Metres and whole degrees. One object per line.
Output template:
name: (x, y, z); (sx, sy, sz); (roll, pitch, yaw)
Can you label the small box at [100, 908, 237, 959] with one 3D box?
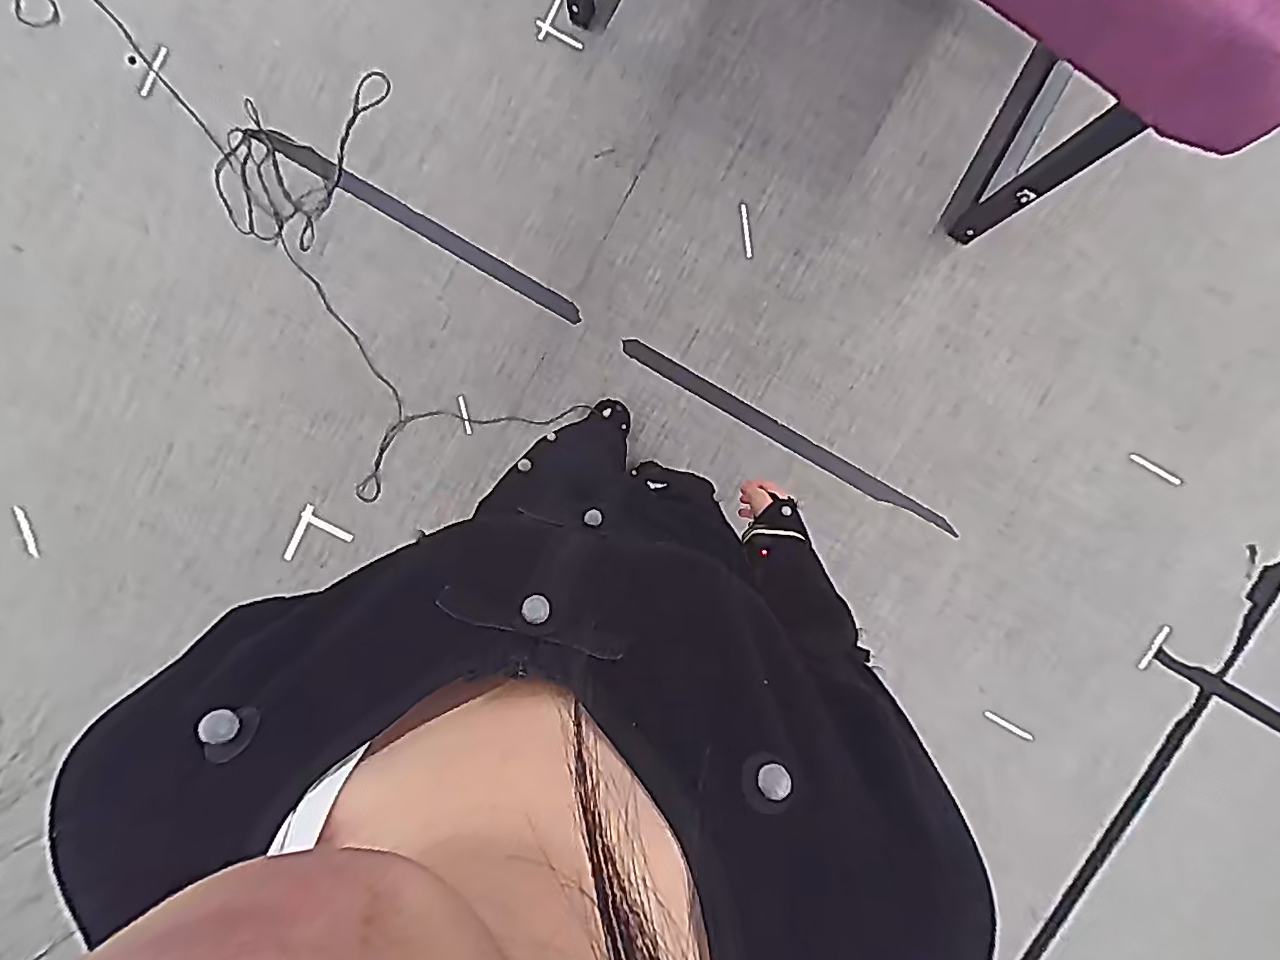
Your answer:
small box: (-0.793, 0.843, 0.859); (0.168, 0.176, 0.179); (21, 94, 1)
